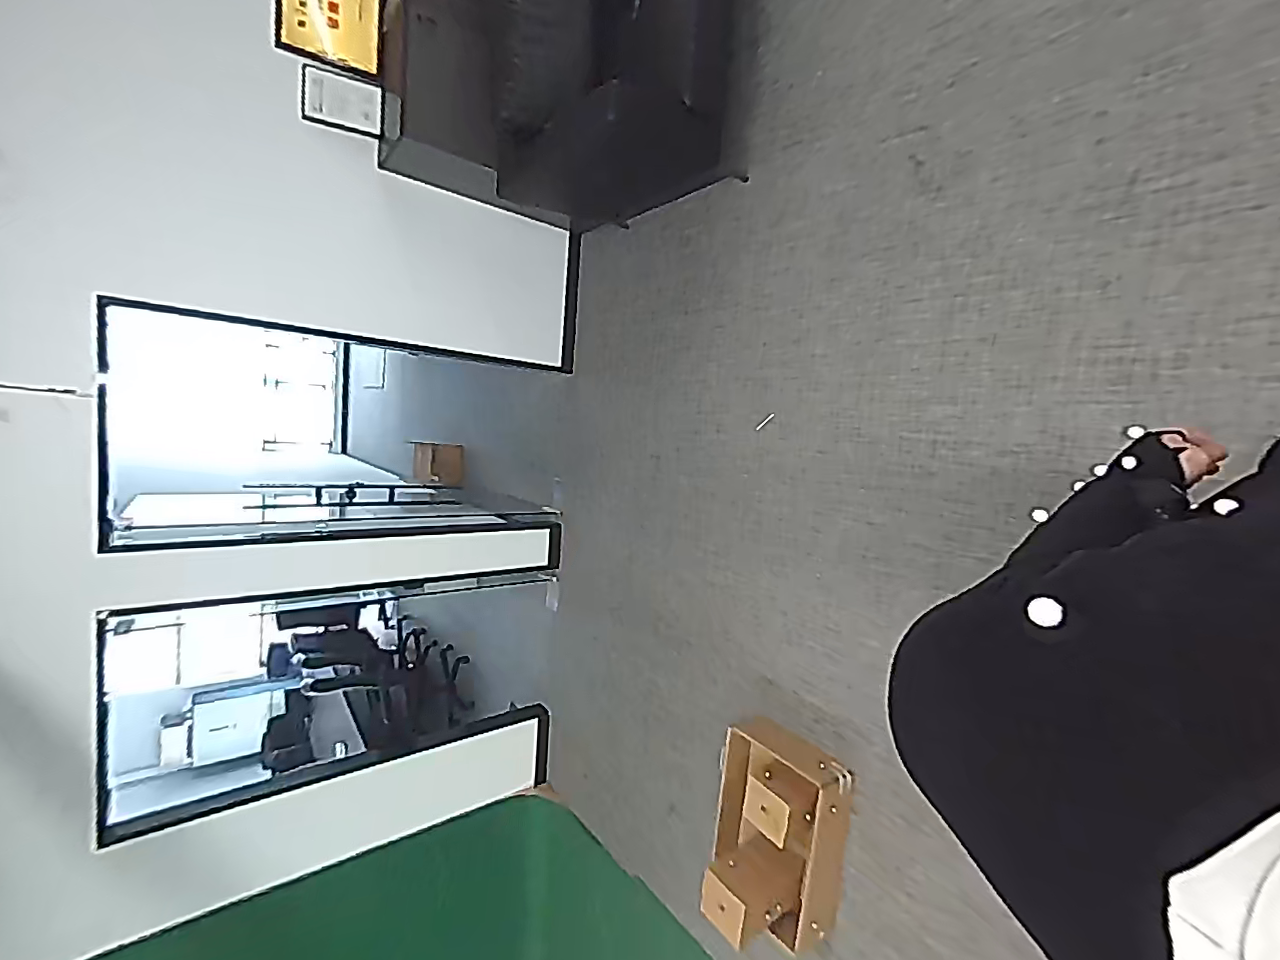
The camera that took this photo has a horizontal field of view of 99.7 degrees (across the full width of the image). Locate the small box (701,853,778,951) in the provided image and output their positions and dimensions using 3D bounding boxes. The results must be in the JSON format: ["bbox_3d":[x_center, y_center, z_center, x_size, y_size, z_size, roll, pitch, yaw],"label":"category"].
[{"bbox_3d":[0.331,1.392,1.805,0.179,0.176,0.168,16,101,50],"label":"small box"}]

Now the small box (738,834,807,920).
[{"bbox_3d":[0.457,1.394,1.909,0.179,0.176,0.168,17,103,51],"label":"small box"}]
